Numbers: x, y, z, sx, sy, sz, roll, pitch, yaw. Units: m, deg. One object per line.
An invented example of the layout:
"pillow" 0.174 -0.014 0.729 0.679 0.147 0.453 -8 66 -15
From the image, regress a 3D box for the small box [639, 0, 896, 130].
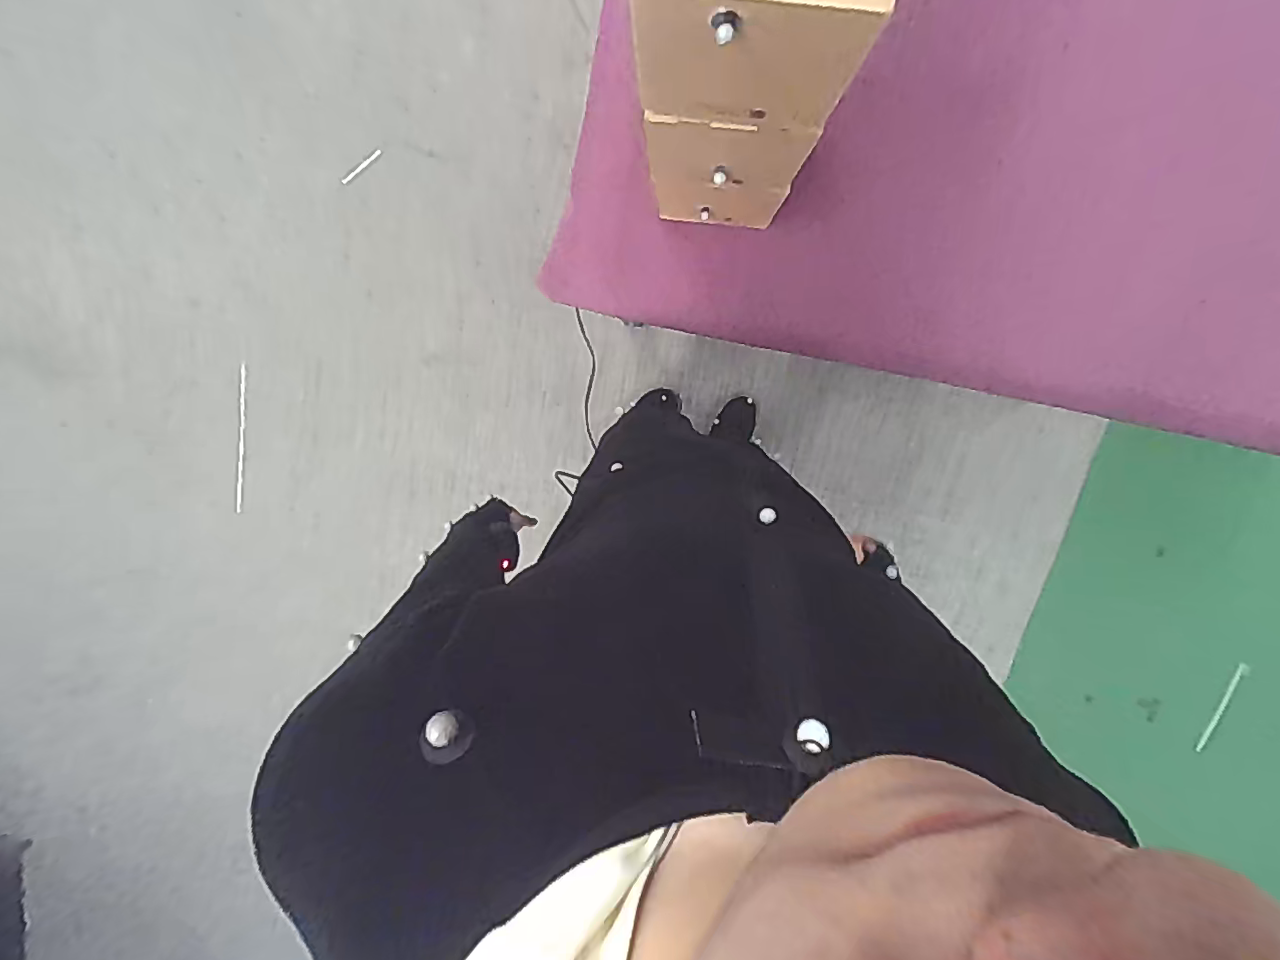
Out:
"small box" 0.090 -0.393 0.390 0.168 0.176 0.179 8 101 2

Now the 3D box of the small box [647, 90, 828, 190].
"small box" 0.099 -0.423 0.551 0.168 0.176 0.179 6 102 3

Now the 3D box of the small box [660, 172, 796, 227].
"small box" 0.117 -0.454 0.711 0.168 0.176 0.179 7 102 2
